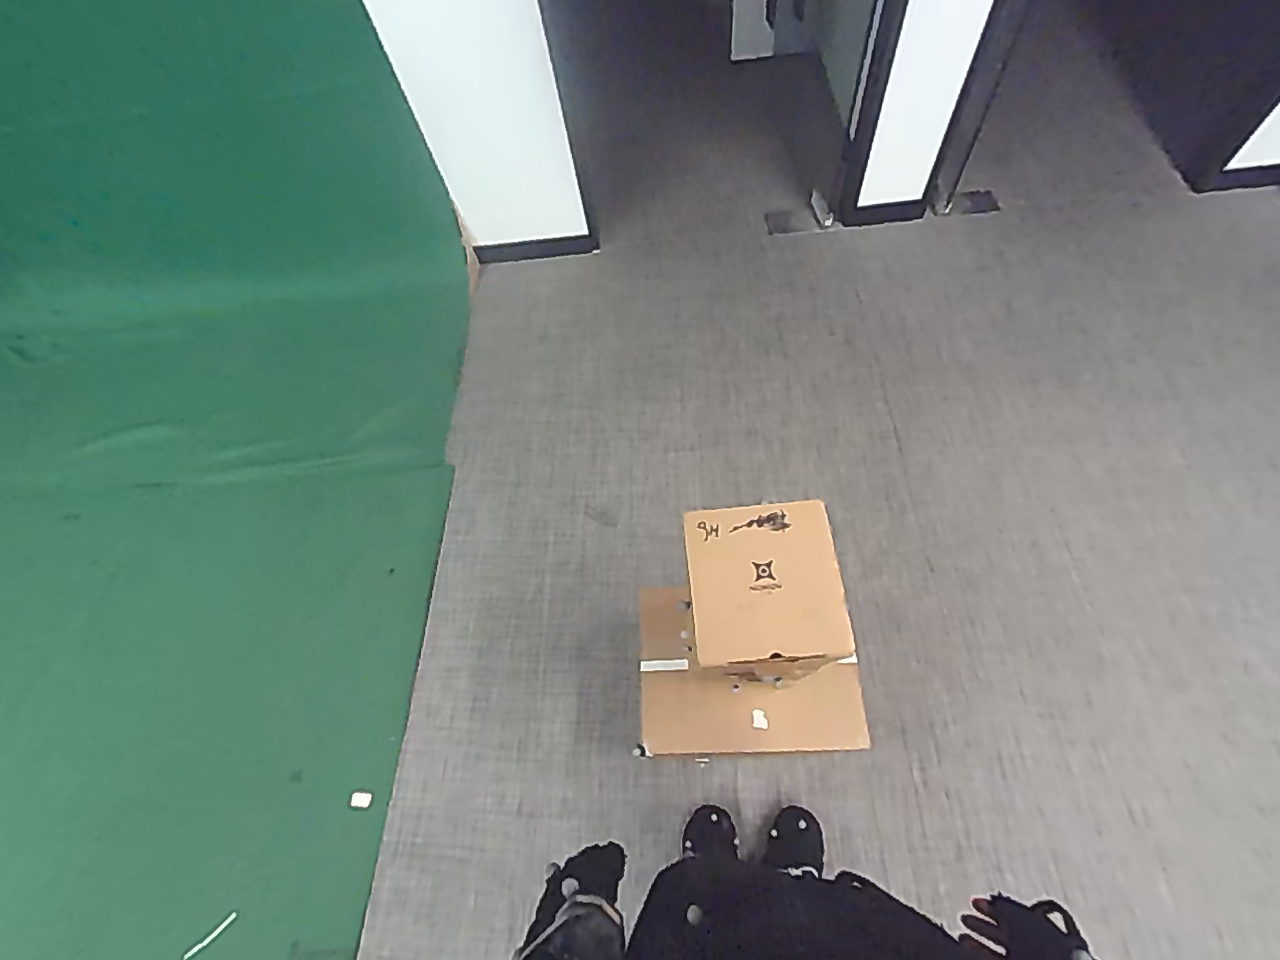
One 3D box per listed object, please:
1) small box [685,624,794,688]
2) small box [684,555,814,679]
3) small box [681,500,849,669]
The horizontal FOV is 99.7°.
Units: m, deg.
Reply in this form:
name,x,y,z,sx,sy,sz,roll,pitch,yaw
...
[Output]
name,x,y,z,sx,sy,sz,roll,pitch,yaw
small box,0.174,0.275,0.970,0.179,0.176,0.168,3,66,8
small box,0.157,0.208,0.827,0.168,0.176,0.179,-4,65,4
small box,0.143,0.140,0.678,0.168,0.176,0.179,-6,67,3
